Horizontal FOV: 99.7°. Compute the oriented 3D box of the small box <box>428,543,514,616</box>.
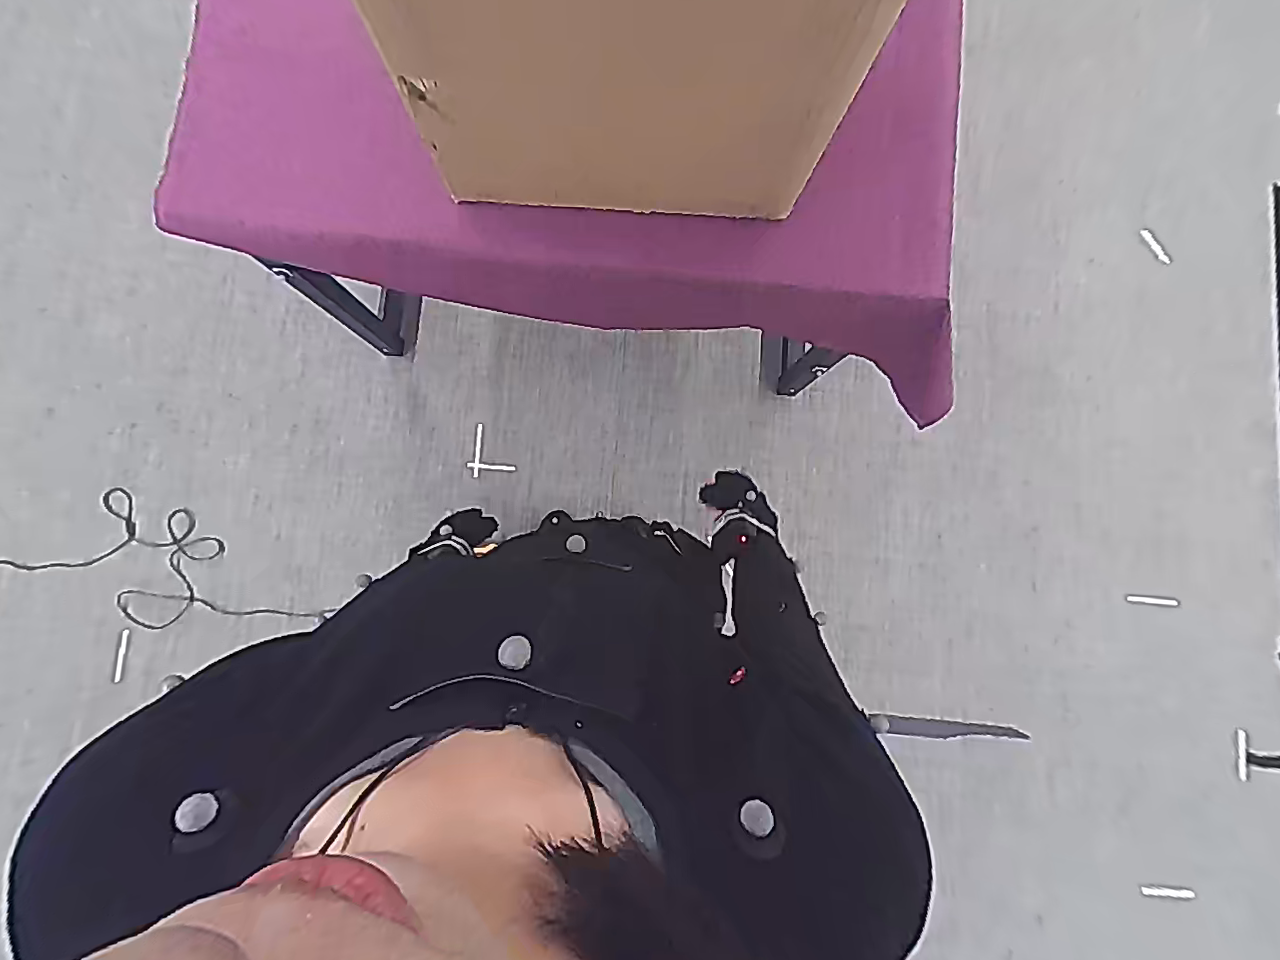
[{"bbox_3d":[-0.435,0.254,1.408,0.179,0.176,0.168,-5,85,-4],"label":"small box"}]
